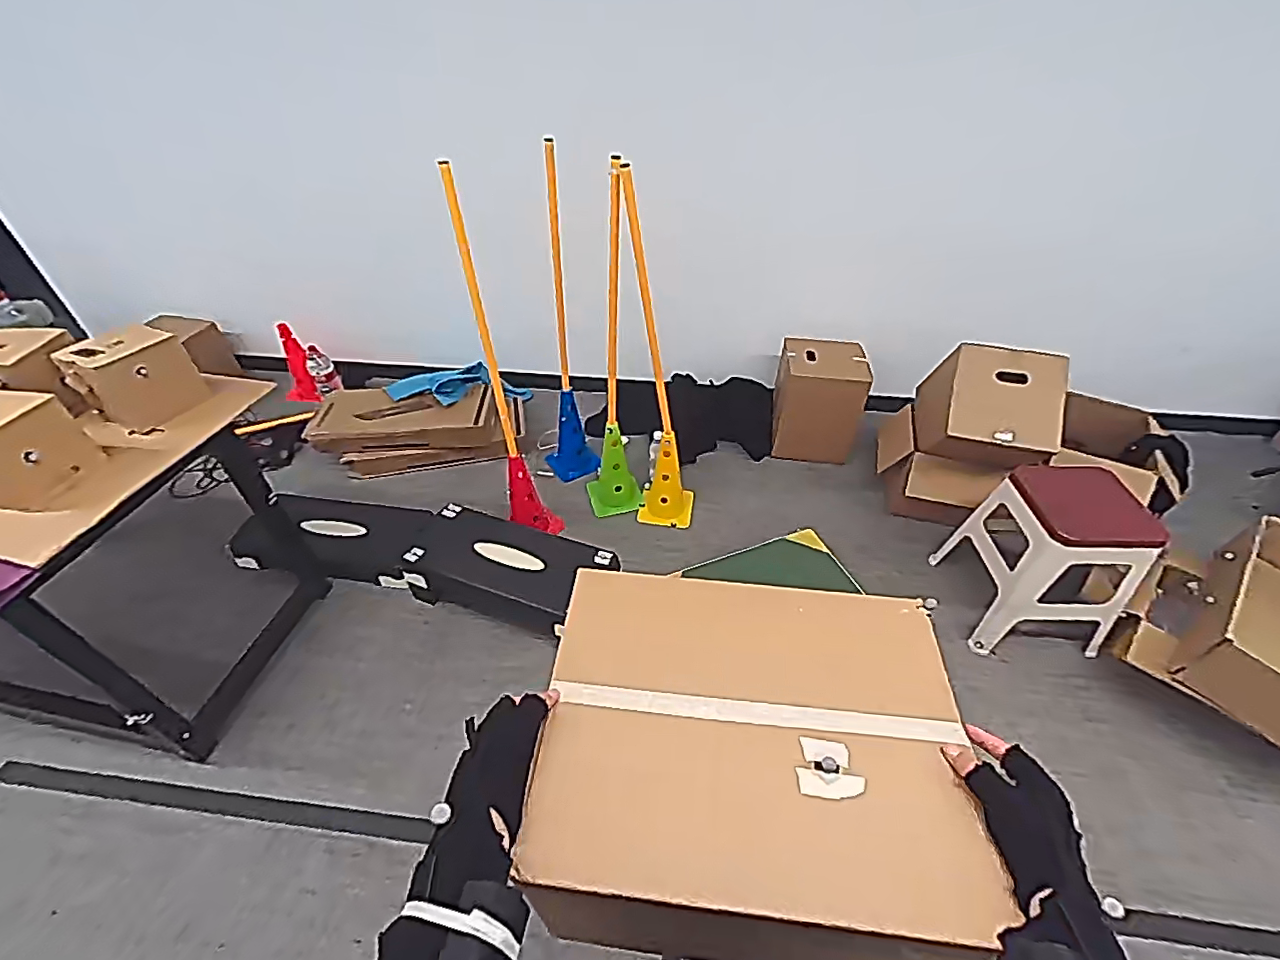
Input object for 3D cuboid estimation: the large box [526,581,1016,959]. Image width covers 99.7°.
[{"bbox_3d":[0.113,0.350,0.644,0.408,0.320,0.320,5,44,5],"label":"large box"}]
